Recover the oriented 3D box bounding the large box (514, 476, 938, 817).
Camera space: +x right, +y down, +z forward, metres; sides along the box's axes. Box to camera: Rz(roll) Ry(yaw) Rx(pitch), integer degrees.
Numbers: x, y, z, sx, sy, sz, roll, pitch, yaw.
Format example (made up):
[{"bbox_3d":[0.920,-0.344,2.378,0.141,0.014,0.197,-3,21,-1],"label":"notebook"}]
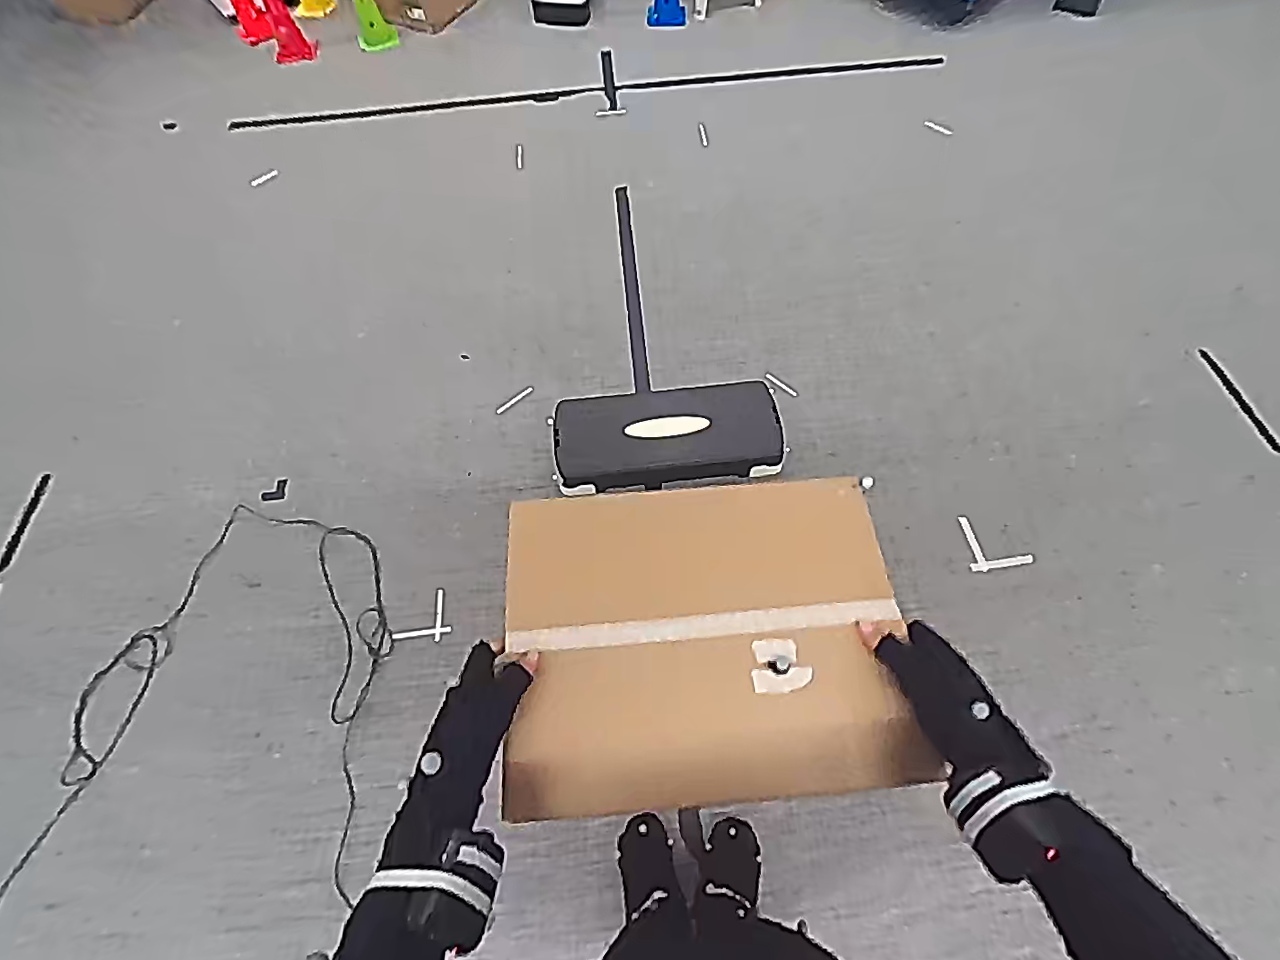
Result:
[{"bbox_3d":[0.067,0.216,0.693,0.408,0.320,0.320,-5,64,-3],"label":"large box"}]
